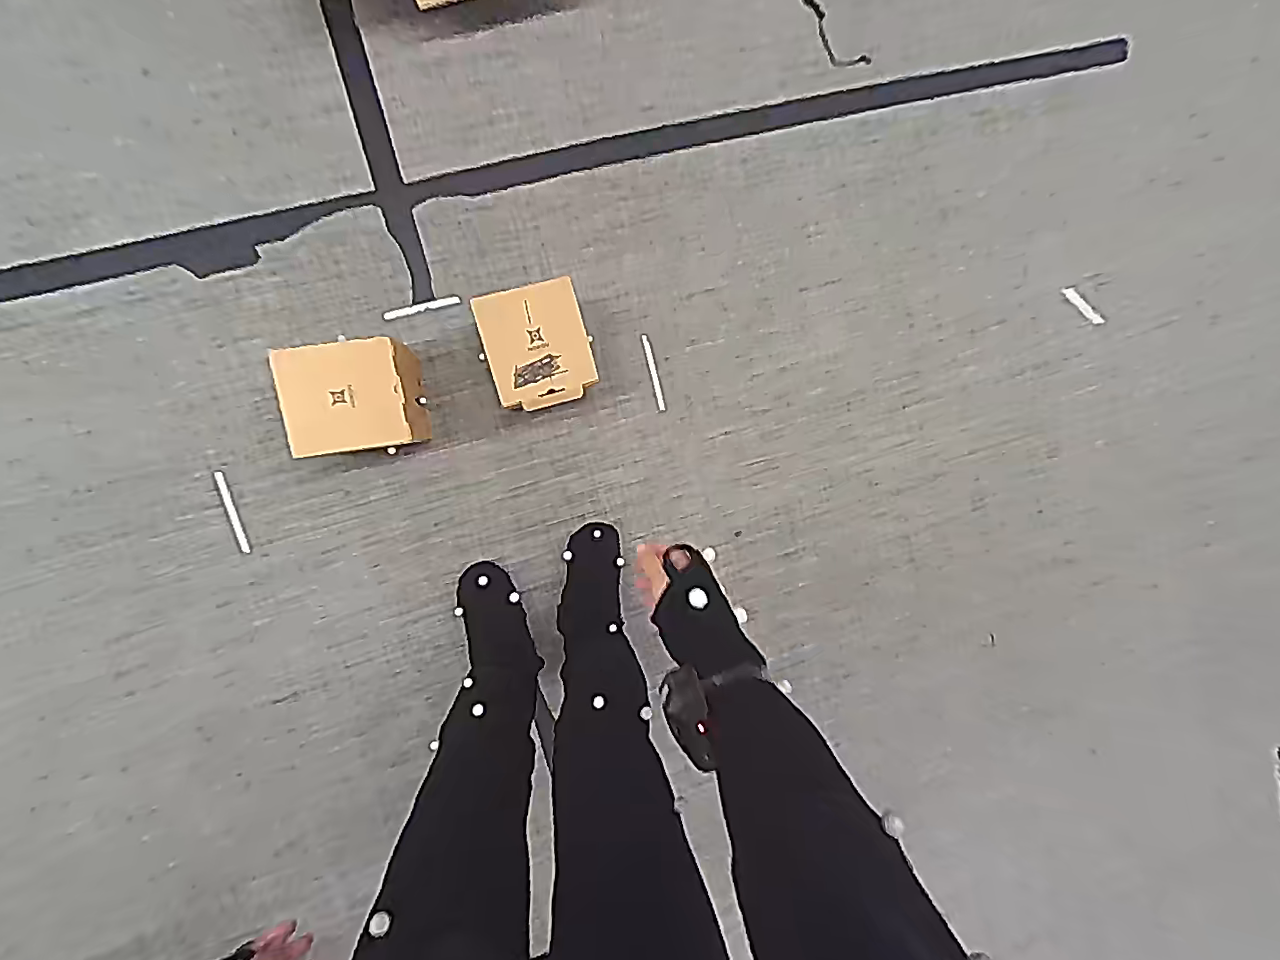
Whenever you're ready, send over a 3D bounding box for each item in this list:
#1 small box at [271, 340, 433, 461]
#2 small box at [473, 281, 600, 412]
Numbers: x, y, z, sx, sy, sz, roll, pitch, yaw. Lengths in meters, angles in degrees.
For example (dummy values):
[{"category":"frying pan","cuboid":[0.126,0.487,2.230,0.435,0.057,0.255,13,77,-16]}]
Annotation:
[{"category":"small box","cuboid":[-0.460,-0.125,0.892,0.179,0.176,0.168,-10,97,-10]},{"category":"small box","cuboid":[-0.176,-0.221,0.937,0.168,0.176,0.179,-17,97,-9]}]
